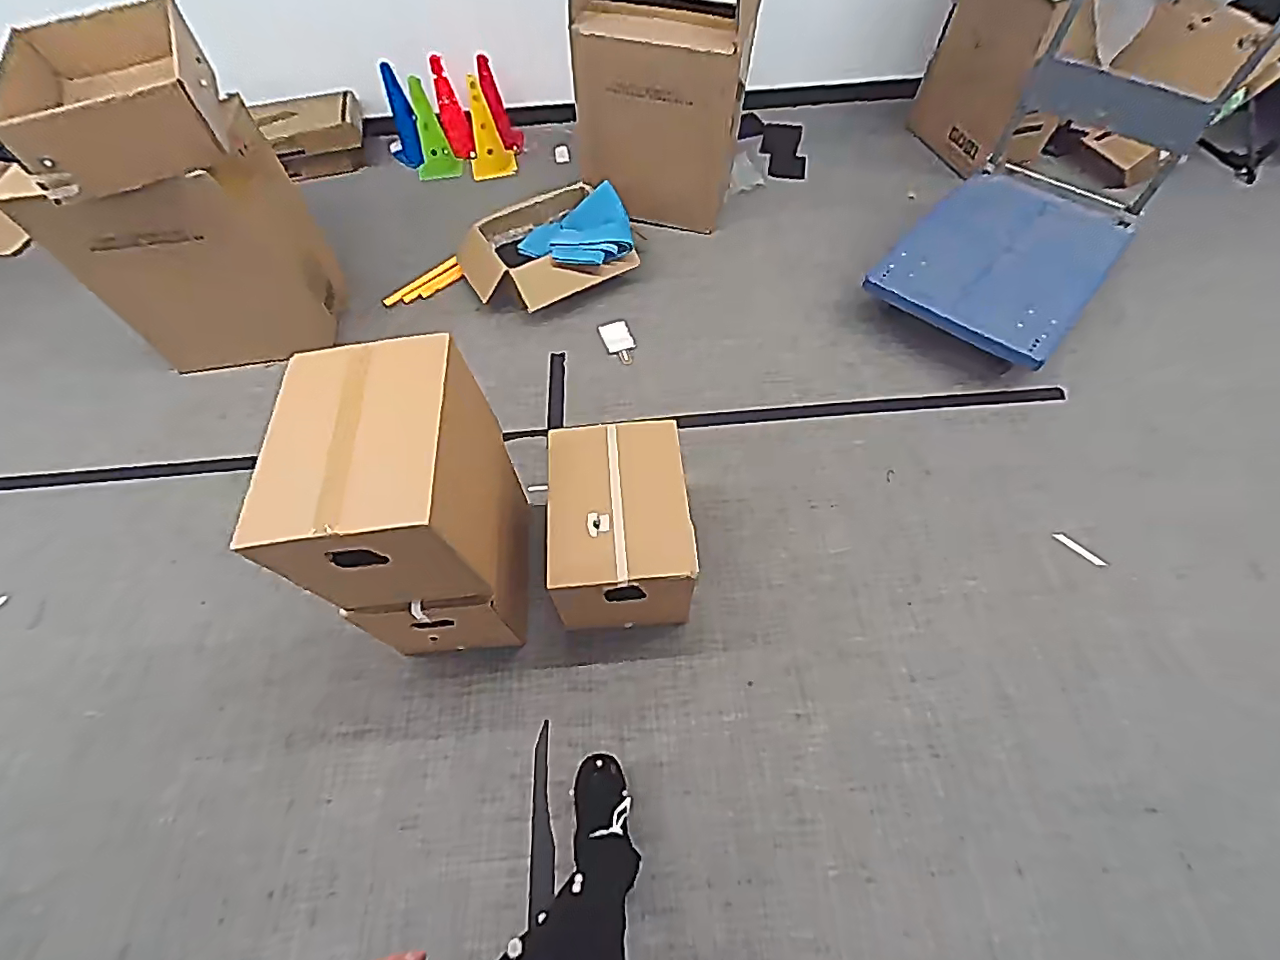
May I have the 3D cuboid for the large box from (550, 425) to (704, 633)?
[{"bbox_3d":[-0.039,0.124,1.328,0.320,0.320,0.408,-6,59,-1],"label":"large box"}]
